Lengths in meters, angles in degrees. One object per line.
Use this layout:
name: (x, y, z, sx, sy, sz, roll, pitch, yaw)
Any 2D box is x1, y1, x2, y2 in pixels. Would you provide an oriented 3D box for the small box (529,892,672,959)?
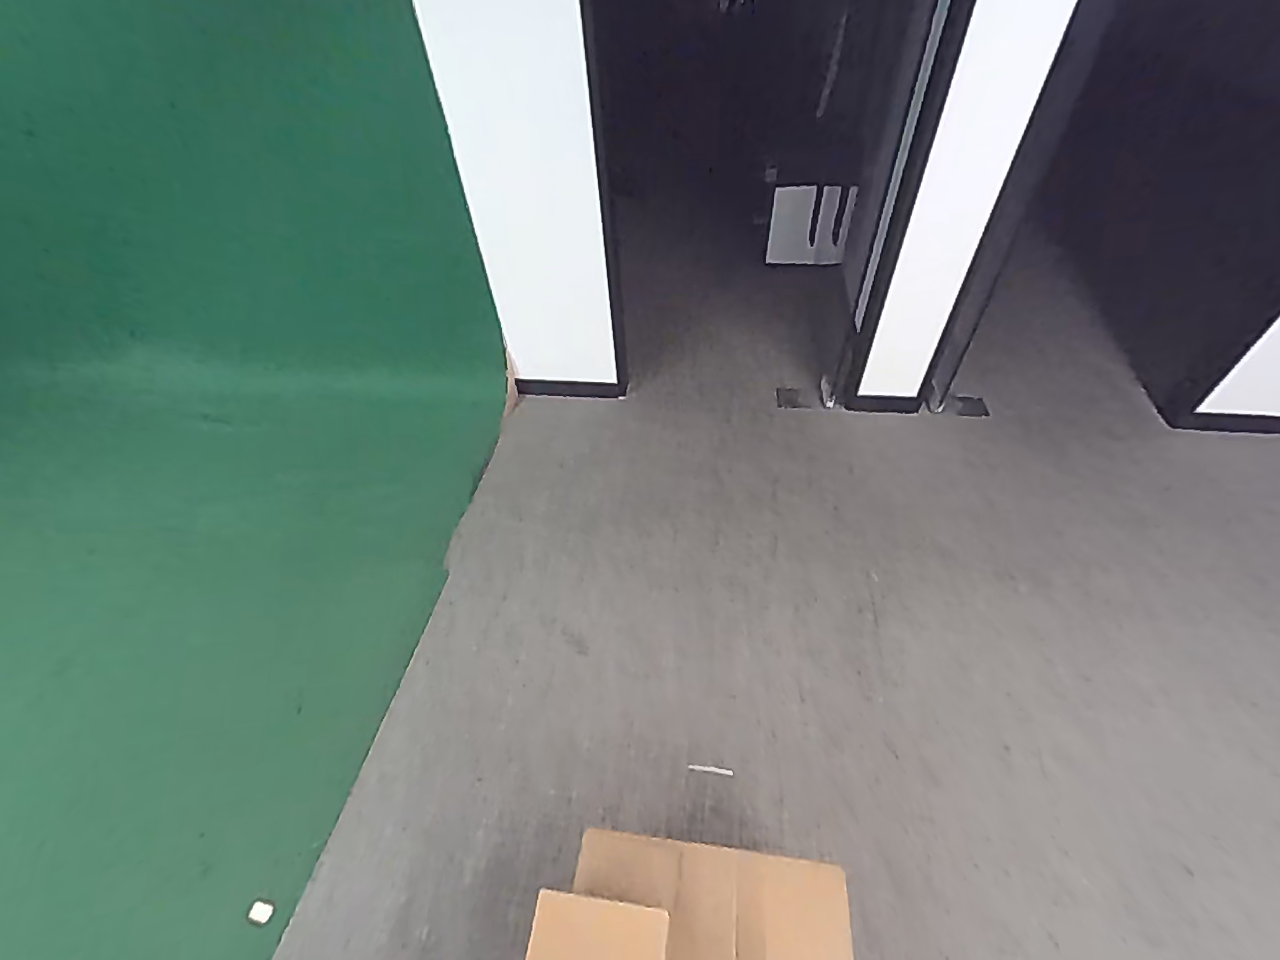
small box: (-0.052, 0.640, 0.673, 0.168, 0.176, 0.179, 4, 50, 6)
